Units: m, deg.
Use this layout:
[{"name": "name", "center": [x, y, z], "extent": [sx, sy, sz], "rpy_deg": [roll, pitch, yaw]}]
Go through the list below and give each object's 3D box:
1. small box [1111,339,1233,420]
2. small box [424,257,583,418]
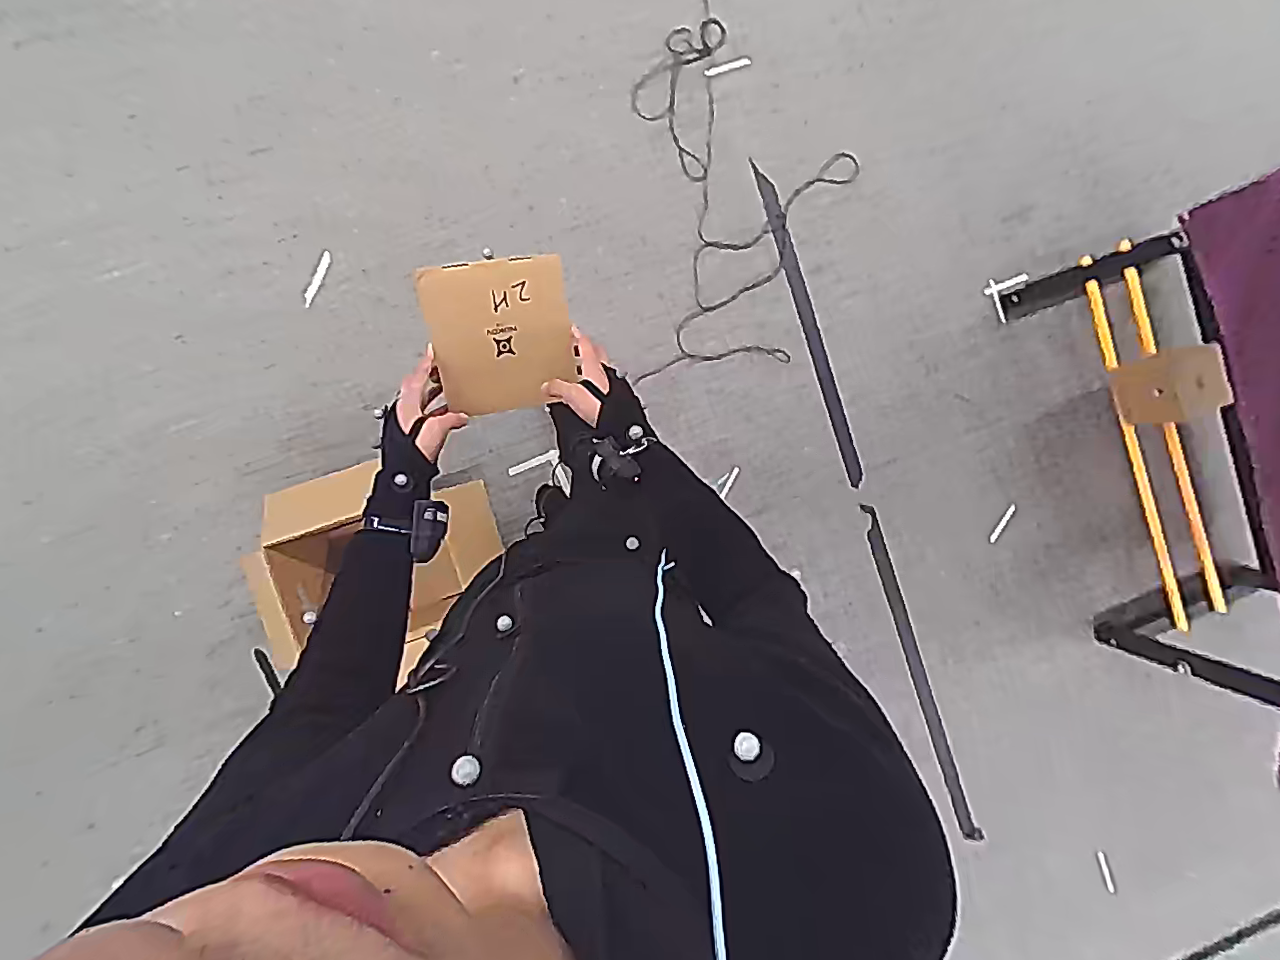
[{"name": "small box", "center": [1.512, -0.280, 1.547], "extent": [0.168, 0.176, 0.179], "rpy_deg": [-22, 95, -4]}, {"name": "small box", "center": [-0.175, -0.197, 0.719], "extent": [0.168, 0.176, 0.179], "rpy_deg": [-10, 114, -11]}]
